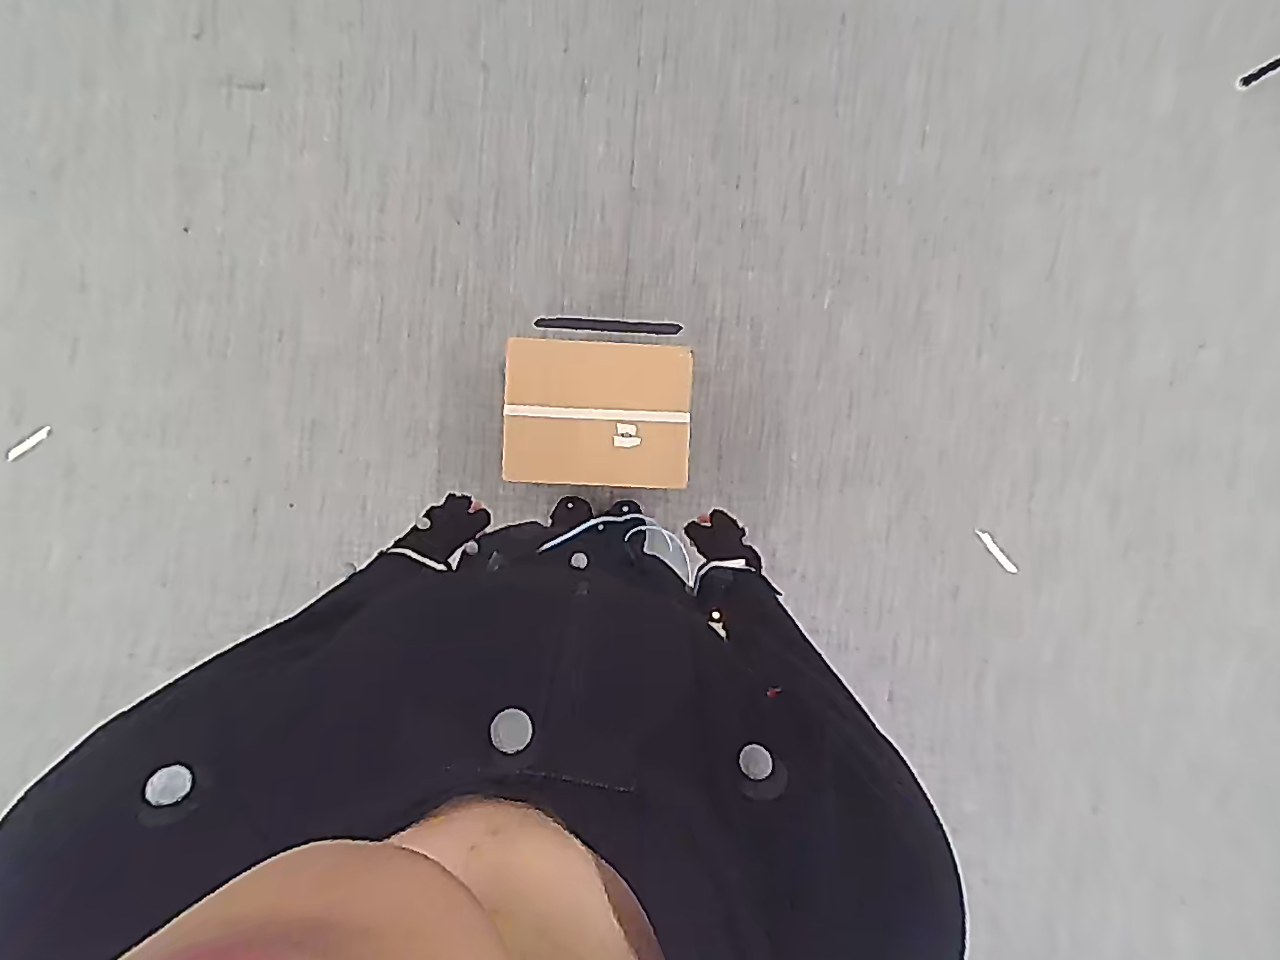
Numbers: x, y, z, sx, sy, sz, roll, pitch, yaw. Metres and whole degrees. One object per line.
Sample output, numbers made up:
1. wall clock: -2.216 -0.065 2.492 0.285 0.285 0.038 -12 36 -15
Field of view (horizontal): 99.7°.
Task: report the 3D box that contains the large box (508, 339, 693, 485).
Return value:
1. large box: -0.095 -0.149 1.334 0.408 0.320 0.320 3 92 -3
